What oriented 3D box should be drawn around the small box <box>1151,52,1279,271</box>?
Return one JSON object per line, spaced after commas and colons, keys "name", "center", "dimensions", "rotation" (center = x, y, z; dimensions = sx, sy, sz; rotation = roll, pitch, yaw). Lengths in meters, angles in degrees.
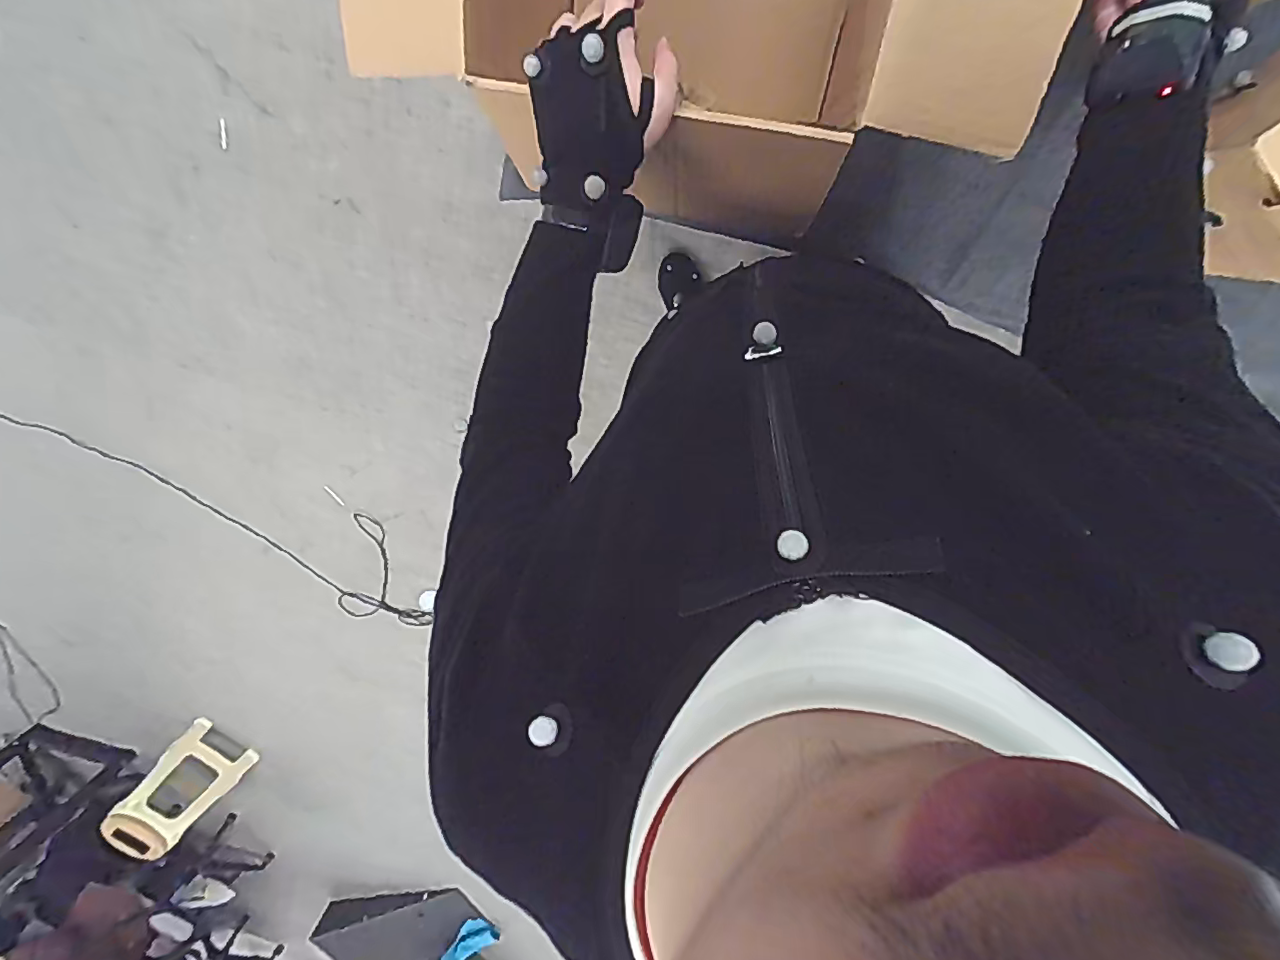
{"name": "small box", "center": [0.662, -0.321, 0.526], "dimensions": [0.179, 0.176, 0.168], "rotation": [-38, 104, 25]}
